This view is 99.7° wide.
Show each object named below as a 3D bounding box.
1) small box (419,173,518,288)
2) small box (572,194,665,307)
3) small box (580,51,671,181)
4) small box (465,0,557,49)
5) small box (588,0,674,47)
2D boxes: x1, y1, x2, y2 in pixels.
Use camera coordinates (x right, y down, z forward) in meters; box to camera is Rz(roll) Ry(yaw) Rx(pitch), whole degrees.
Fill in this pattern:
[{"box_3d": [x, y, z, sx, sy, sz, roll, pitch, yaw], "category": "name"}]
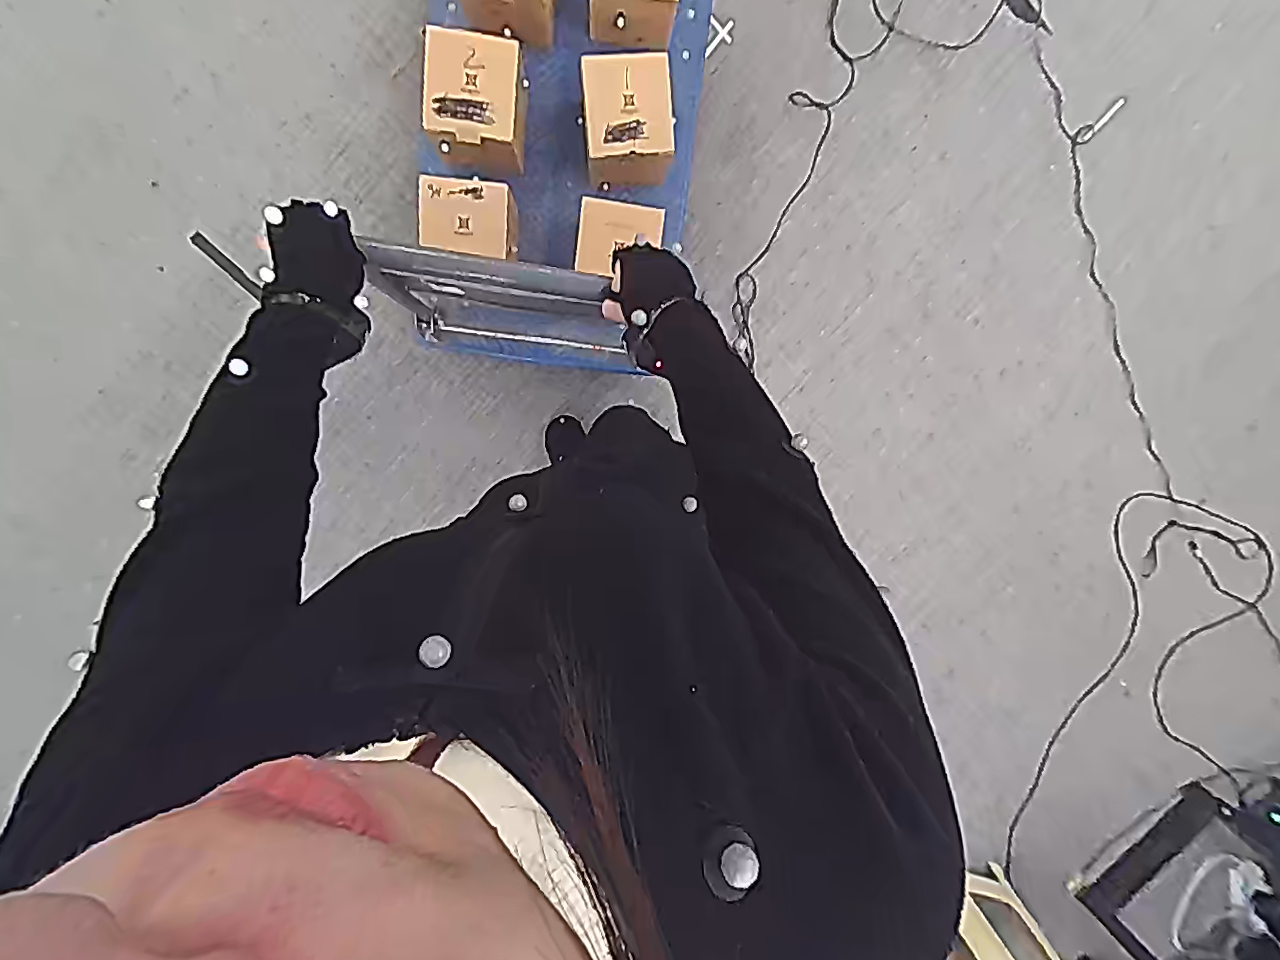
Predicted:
[{"box_3d": [-0.344, -0.499, 1.109, 0.168, 0.176, 0.179, 2, 100, -7], "category": "small box"}, {"box_3d": [-0.049, -0.473, 1.144, 0.168, 0.176, 0.179, 7, 99, -7], "category": "small box"}, {"box_3d": [-0.031, -0.727, 1.101, 0.168, 0.176, 0.179, -5, 100, -5], "category": "small box"}, {"box_3d": [-0.246, -0.983, 1.031, 0.168, 0.176, 0.179, 8, 100, -7], "category": "small box"}, {"box_3d": [-0.013, -0.995, 1.055, 0.168, 0.176, 0.179, 3, 100, -6], "category": "small box"}]
